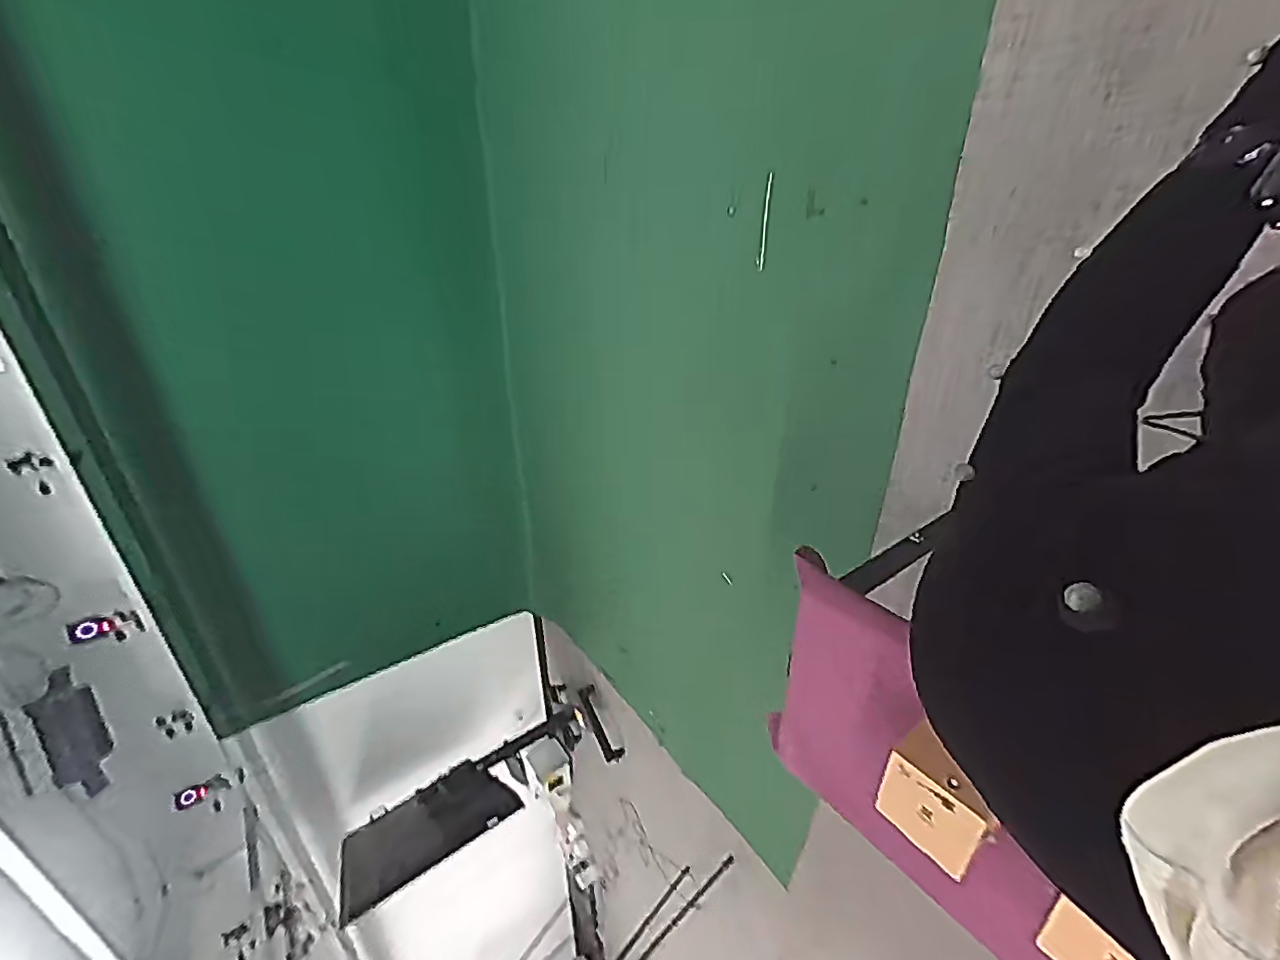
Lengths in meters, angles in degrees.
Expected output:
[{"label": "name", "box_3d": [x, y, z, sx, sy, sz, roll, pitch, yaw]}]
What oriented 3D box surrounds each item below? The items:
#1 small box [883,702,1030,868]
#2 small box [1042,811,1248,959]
[{"label": "small box", "box_3d": [0.595, 0.565, 1.020, 0.168, 0.176, 0.179, 32, 132, 46]}, {"label": "small box", "box_3d": [0.757, 0.657, 0.815, 0.168, 0.176, 0.179, 30, 129, 47]}]
